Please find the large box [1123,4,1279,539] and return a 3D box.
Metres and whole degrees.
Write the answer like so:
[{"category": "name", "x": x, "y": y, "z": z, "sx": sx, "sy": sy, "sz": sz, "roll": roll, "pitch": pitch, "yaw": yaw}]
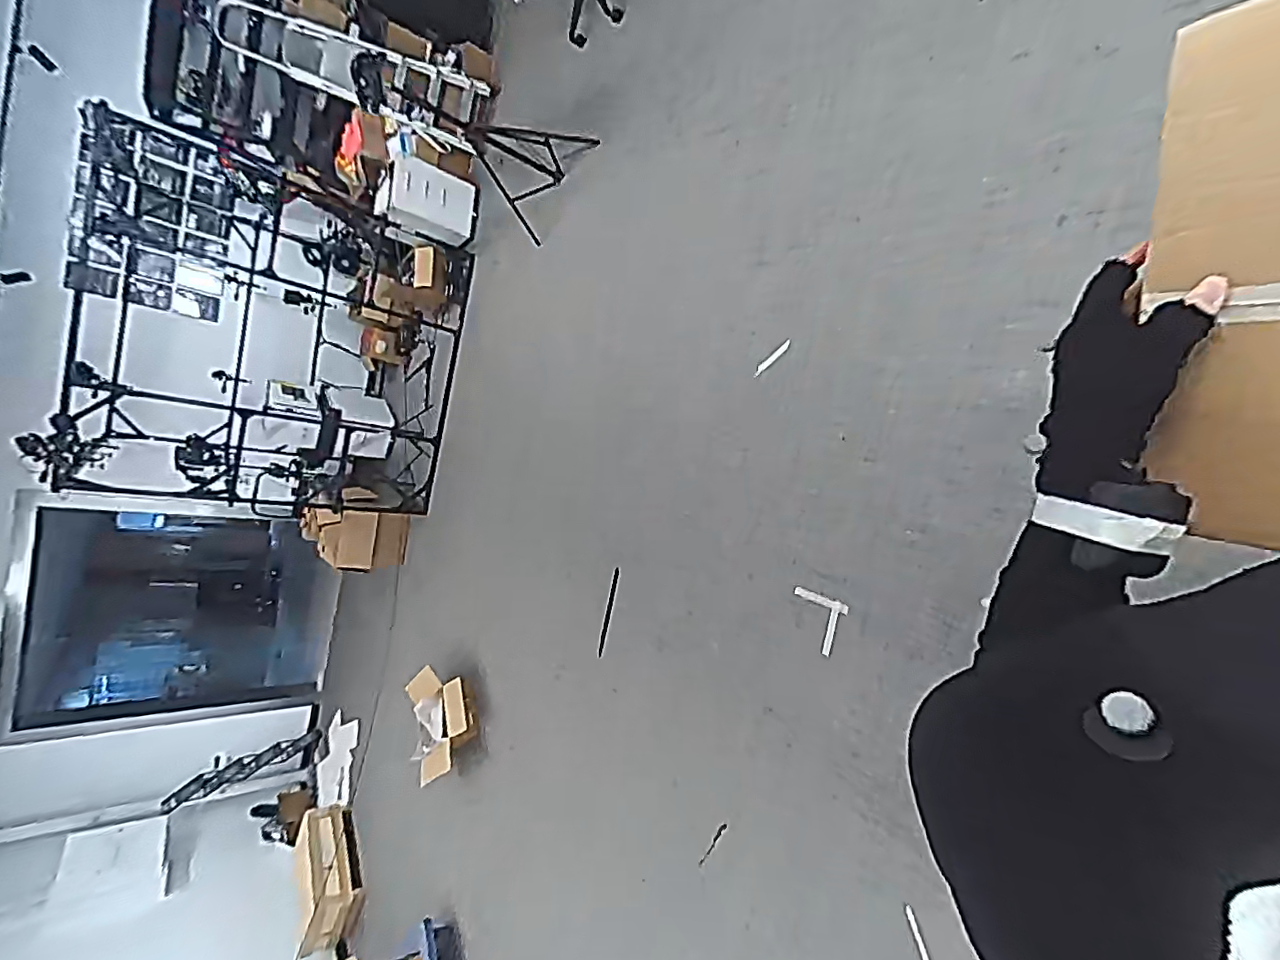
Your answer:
[{"category": "large box", "x": 0.575, "y": -0.135, "z": 0.290, "sx": 0.408, "sy": 0.320, "sz": 0.320, "roll": 16, "pitch": 122, "yaw": 53}]
